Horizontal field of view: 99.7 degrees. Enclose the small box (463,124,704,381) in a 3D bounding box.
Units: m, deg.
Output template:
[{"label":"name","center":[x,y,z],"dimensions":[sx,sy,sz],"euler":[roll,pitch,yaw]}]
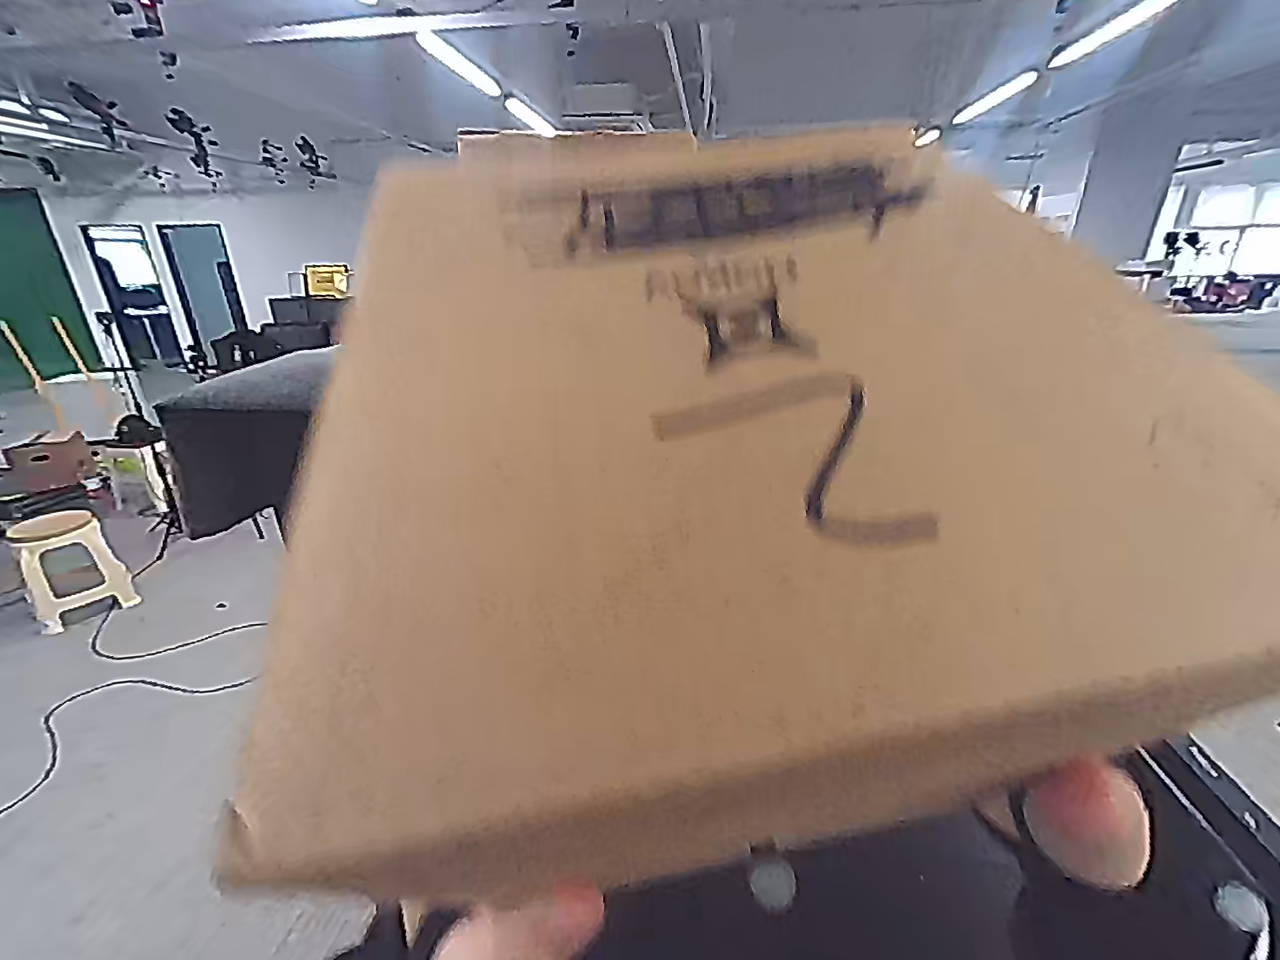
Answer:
[{"label":"small box","center":[-0.034,-0.187,0.465],"dimensions":[0.168,0.176,0.179],"euler":[3,21,6]}]
